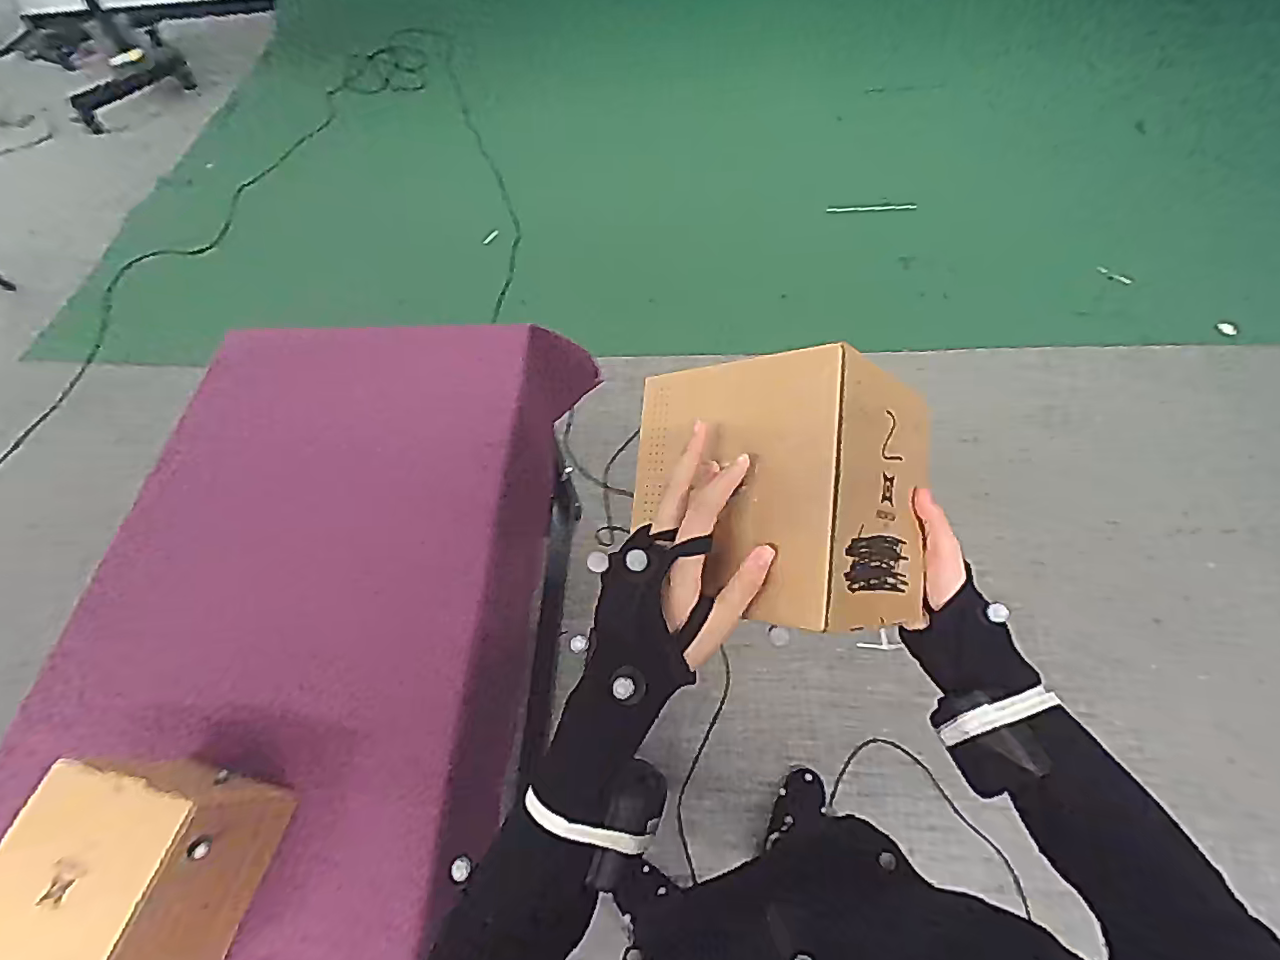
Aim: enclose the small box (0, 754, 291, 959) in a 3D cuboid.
[{"bbox_3d":[-0.517,0.408,0.565,0.168,0.176,0.179,10,60,10],"label":"small box"}]
